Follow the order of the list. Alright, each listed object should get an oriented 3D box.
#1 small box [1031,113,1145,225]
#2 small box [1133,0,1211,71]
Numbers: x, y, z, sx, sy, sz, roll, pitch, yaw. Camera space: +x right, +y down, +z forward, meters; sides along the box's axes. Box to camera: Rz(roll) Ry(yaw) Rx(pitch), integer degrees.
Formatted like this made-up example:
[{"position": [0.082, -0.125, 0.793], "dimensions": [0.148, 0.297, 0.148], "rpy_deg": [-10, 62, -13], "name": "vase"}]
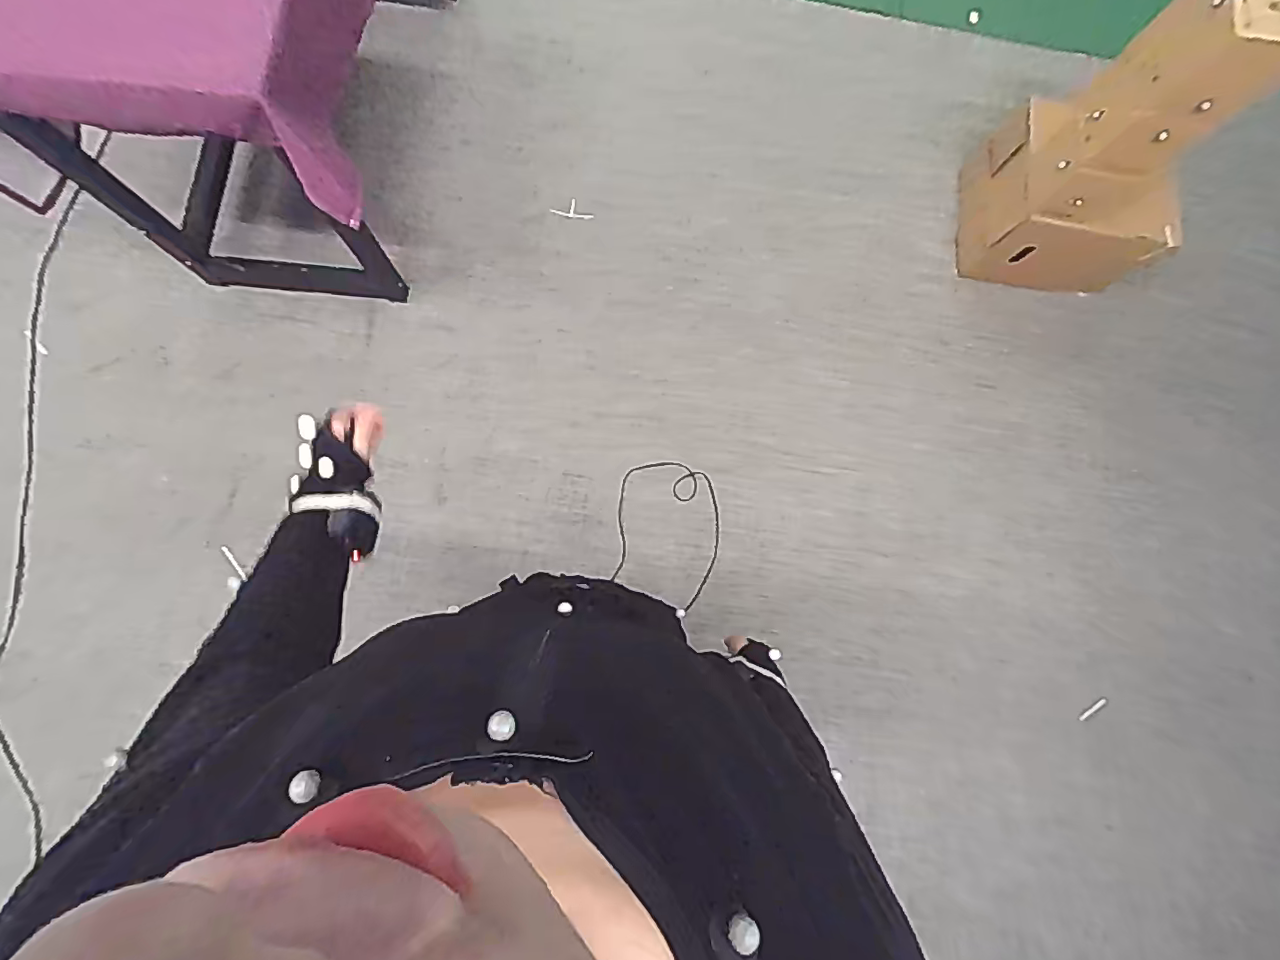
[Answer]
[{"position": [1.156, -0.798, 1.405], "dimensions": [0.168, 0.176, 0.179], "rpy_deg": [10, 80, -4], "name": "small box"}, {"position": [1.341, -1.027, 1.298], "dimensions": [0.168, 0.176, 0.179], "rpy_deg": [7, 78, -6], "name": "small box"}]
